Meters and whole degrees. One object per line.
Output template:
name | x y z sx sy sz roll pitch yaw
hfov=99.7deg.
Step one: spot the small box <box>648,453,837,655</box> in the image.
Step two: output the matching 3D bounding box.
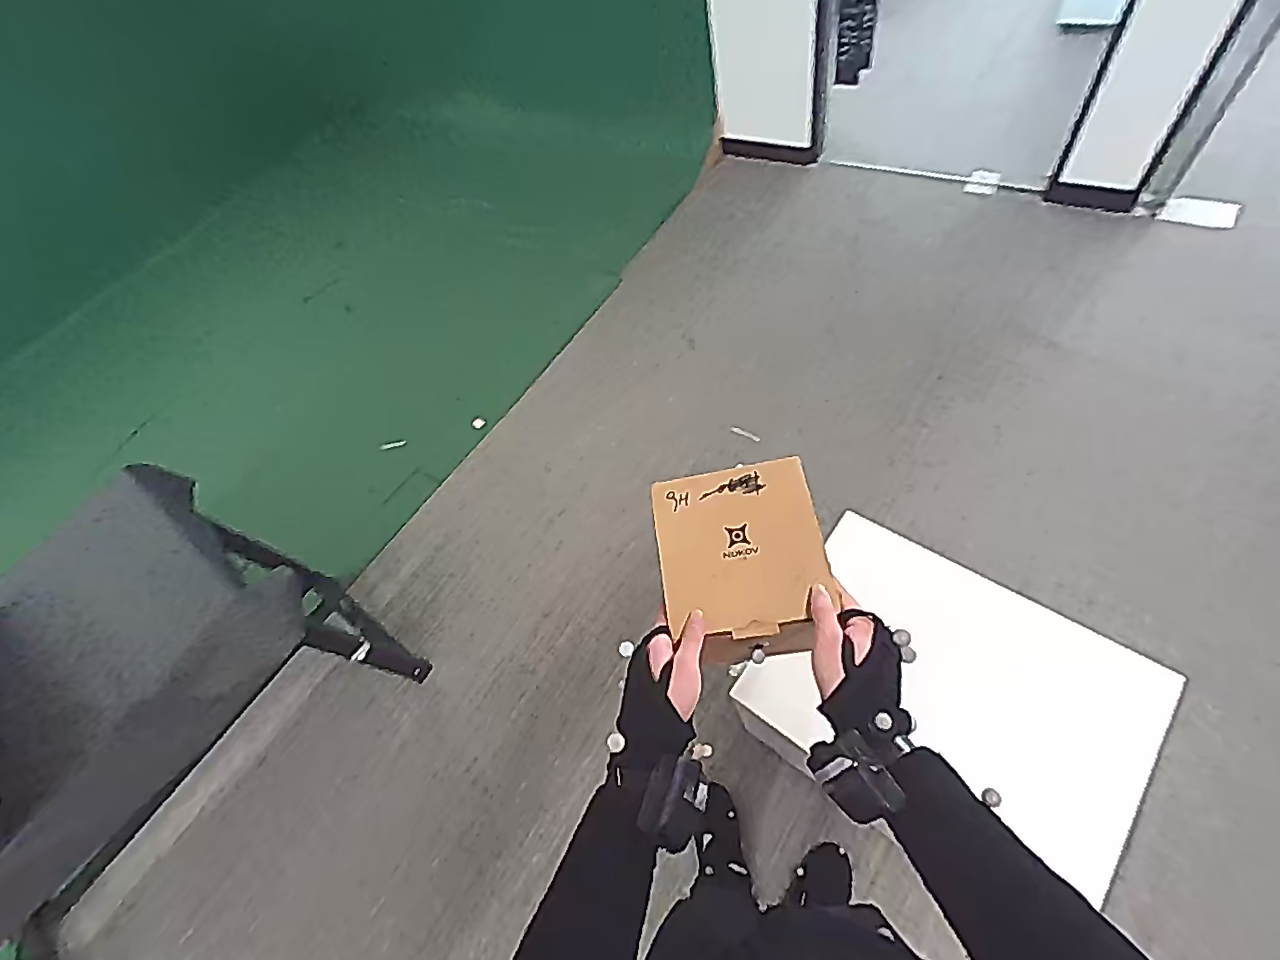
small box | 0.116 0.098 0.629 0.168 0.176 0.179 -13 61 7
